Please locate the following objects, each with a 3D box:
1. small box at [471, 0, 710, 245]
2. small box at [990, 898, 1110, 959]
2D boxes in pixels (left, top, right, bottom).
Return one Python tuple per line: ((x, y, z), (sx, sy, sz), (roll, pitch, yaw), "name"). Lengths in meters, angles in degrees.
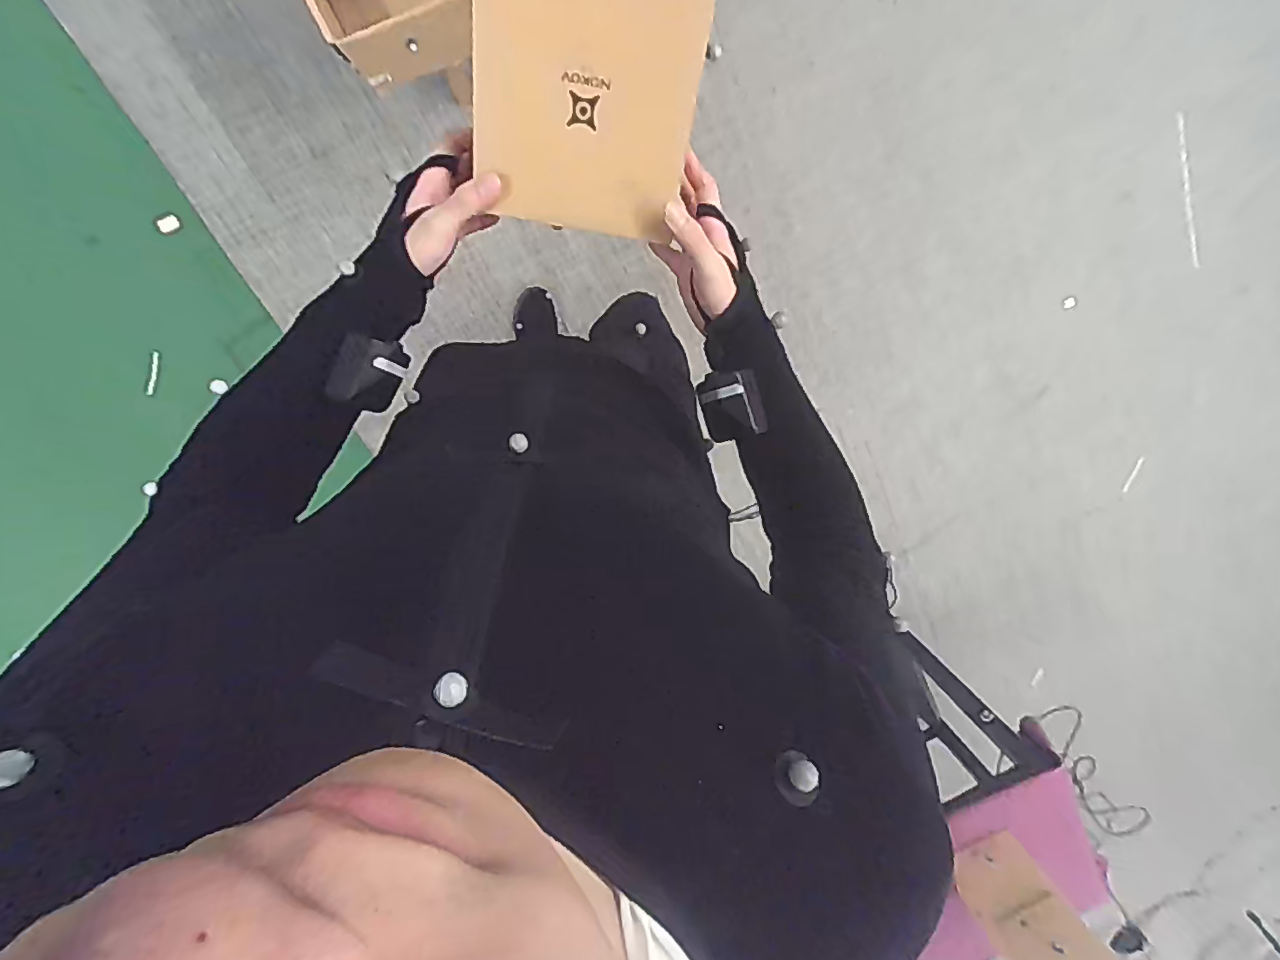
((-0.043, -0.325, 0.471), (0.168, 0.176, 0.179), (8, 123, -5), "small box")
((0.886, 1.037, 1.147), (0.168, 0.176, 0.179), (-29, 110, 2), "small box")
